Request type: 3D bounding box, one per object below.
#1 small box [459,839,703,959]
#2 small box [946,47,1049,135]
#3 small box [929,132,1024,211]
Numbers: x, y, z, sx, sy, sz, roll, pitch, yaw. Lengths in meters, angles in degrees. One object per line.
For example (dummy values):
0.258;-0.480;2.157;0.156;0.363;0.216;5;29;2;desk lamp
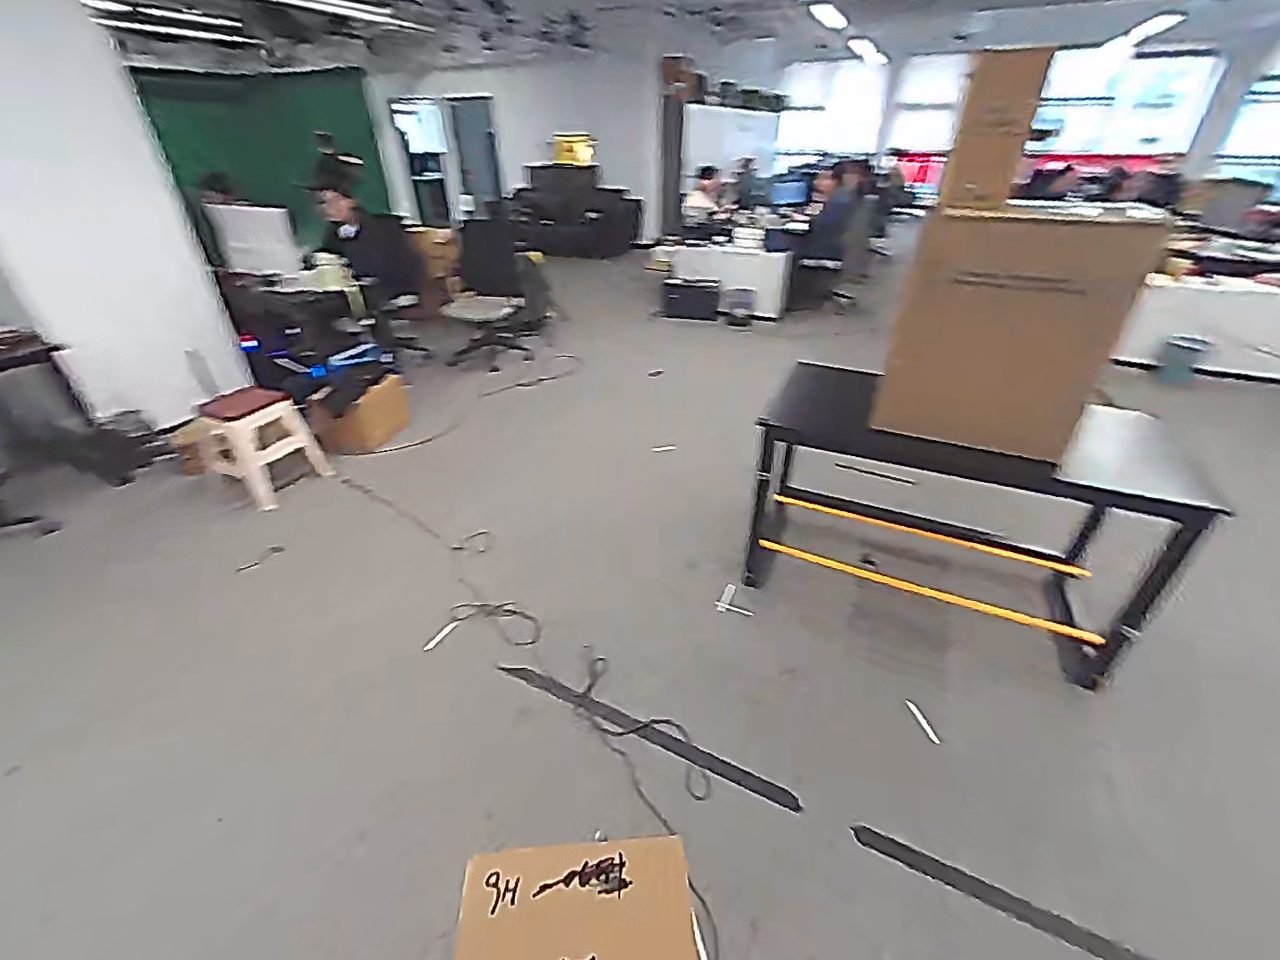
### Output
-0.041;0.392;0.398;0.168;0.176;0.179;0;42;-5;small box
0.879;-0.962;1.349;0.168;0.176;0.179;12;36;19;small box
0.884;-0.825;1.441;0.168;0.176;0.179;10;36;17;small box
